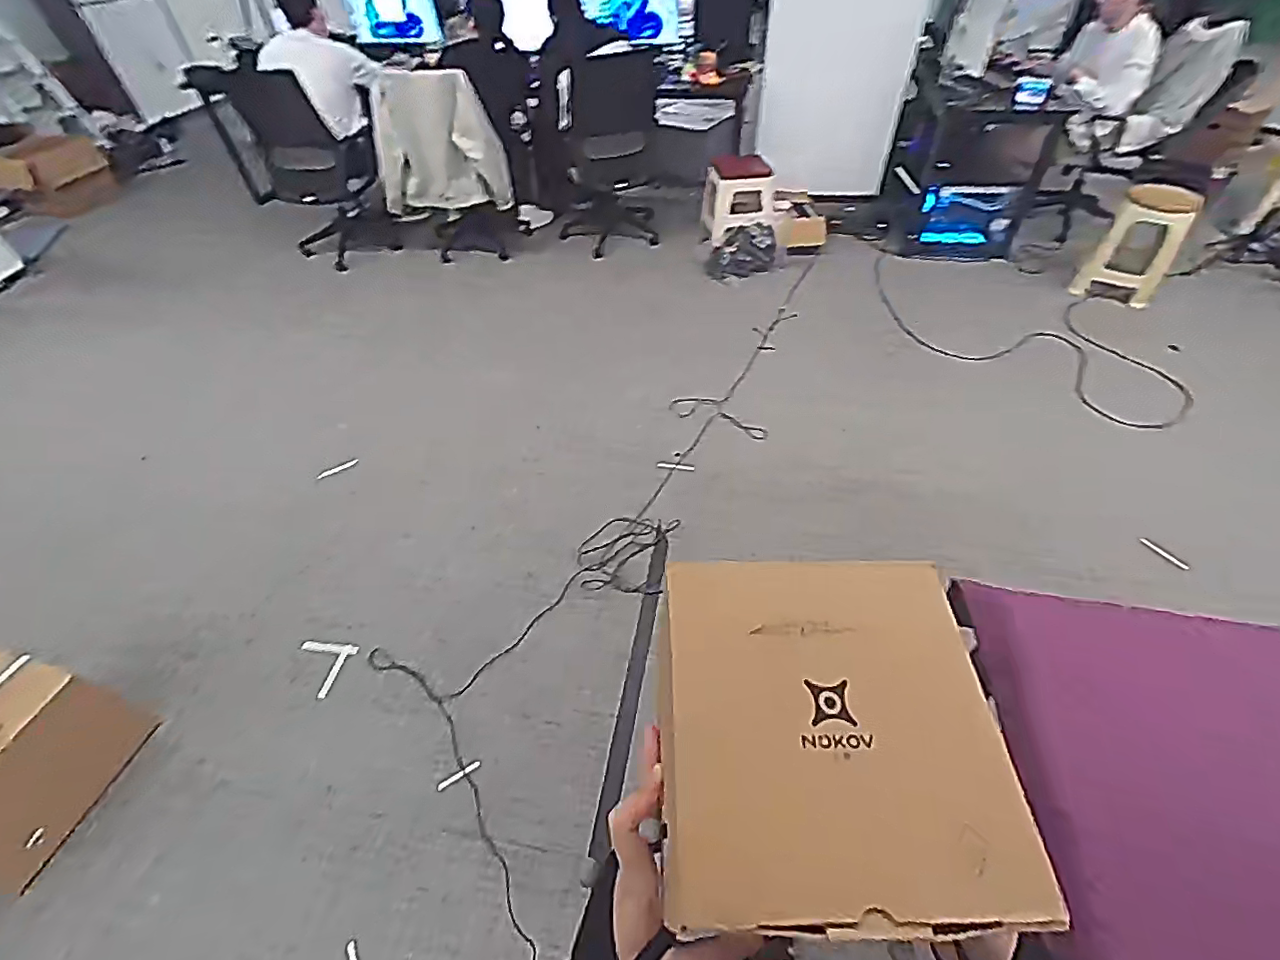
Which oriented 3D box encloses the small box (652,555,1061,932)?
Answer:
[{"bbox_3d":[0.095,0.165,0.339,0.168,0.176,0.179,0,50,-3],"label":"small box"}]
